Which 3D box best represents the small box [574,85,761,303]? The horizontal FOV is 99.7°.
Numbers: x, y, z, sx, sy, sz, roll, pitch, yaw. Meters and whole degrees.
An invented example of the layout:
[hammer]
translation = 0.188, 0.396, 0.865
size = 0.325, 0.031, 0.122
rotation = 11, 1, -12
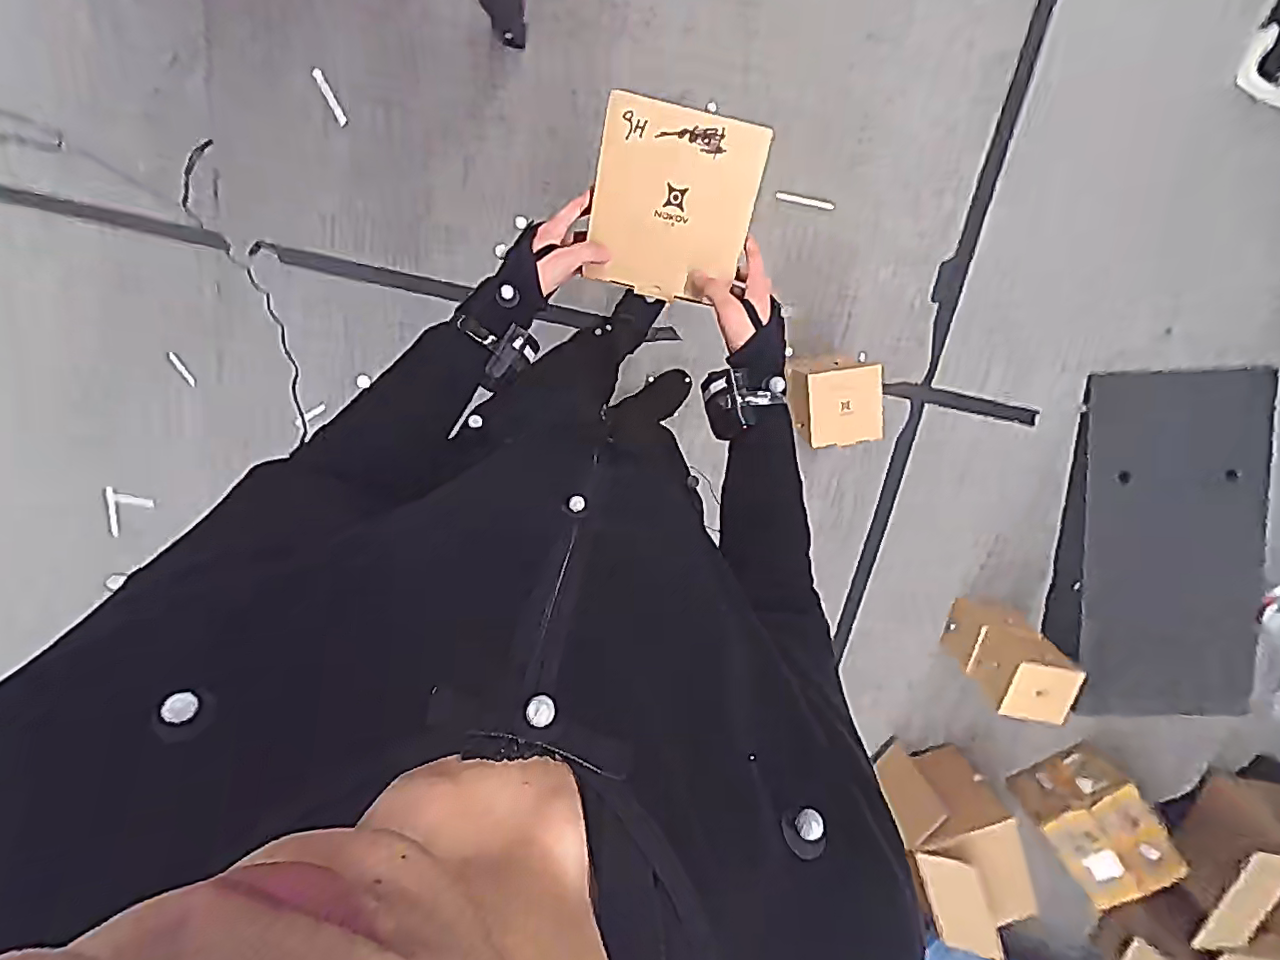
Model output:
[small box]
translation = 0.026, -0.321, 0.632
size = 0.168, 0.176, 0.179
rotation = 11, 114, -4
